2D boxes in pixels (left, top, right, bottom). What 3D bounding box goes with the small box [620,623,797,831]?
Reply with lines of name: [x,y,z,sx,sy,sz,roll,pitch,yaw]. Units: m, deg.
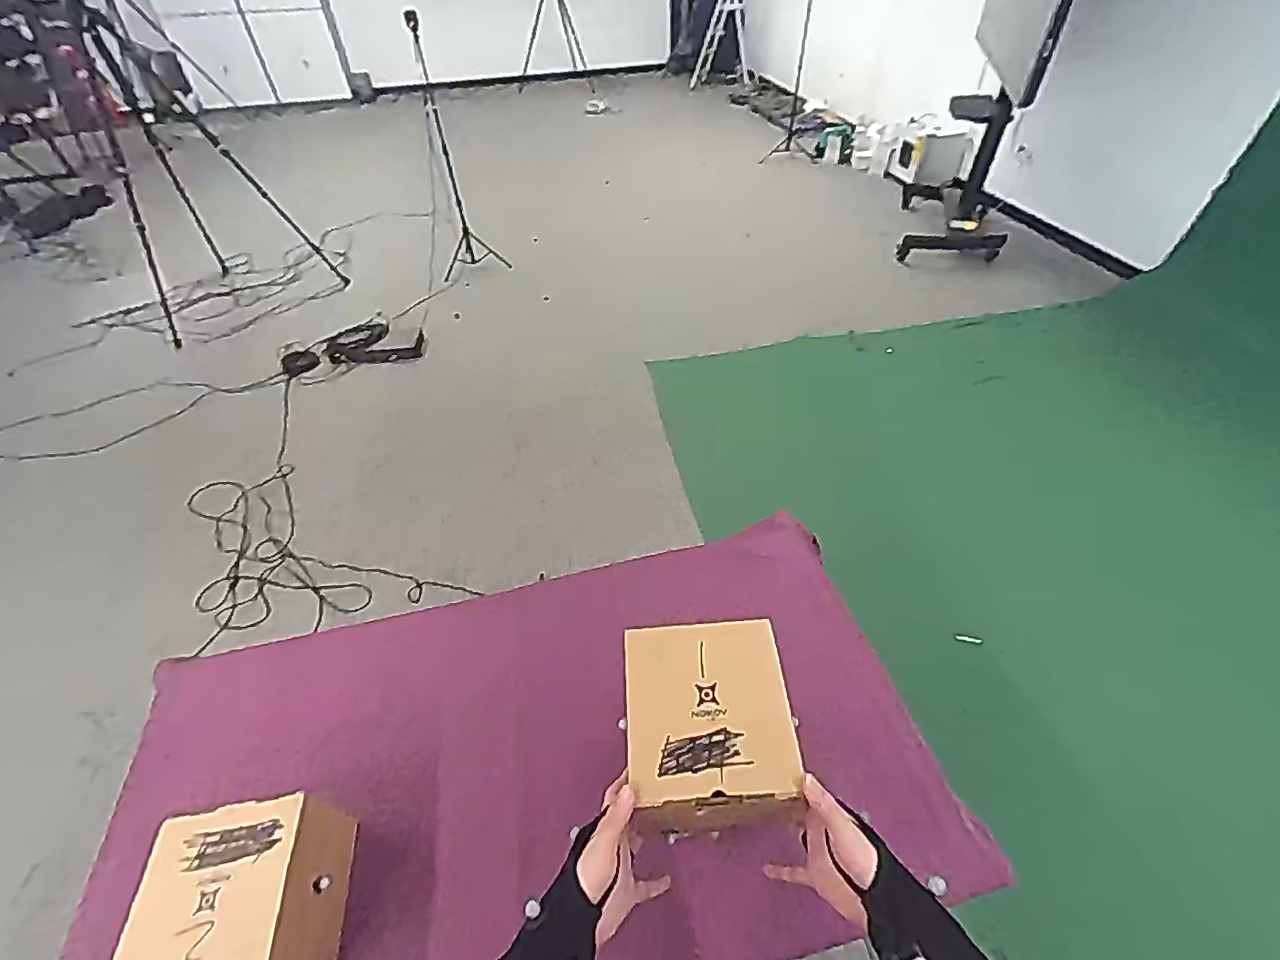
small box: [0.068,0.282,0.607,0.168,0.176,0.179,-4,48,2]
